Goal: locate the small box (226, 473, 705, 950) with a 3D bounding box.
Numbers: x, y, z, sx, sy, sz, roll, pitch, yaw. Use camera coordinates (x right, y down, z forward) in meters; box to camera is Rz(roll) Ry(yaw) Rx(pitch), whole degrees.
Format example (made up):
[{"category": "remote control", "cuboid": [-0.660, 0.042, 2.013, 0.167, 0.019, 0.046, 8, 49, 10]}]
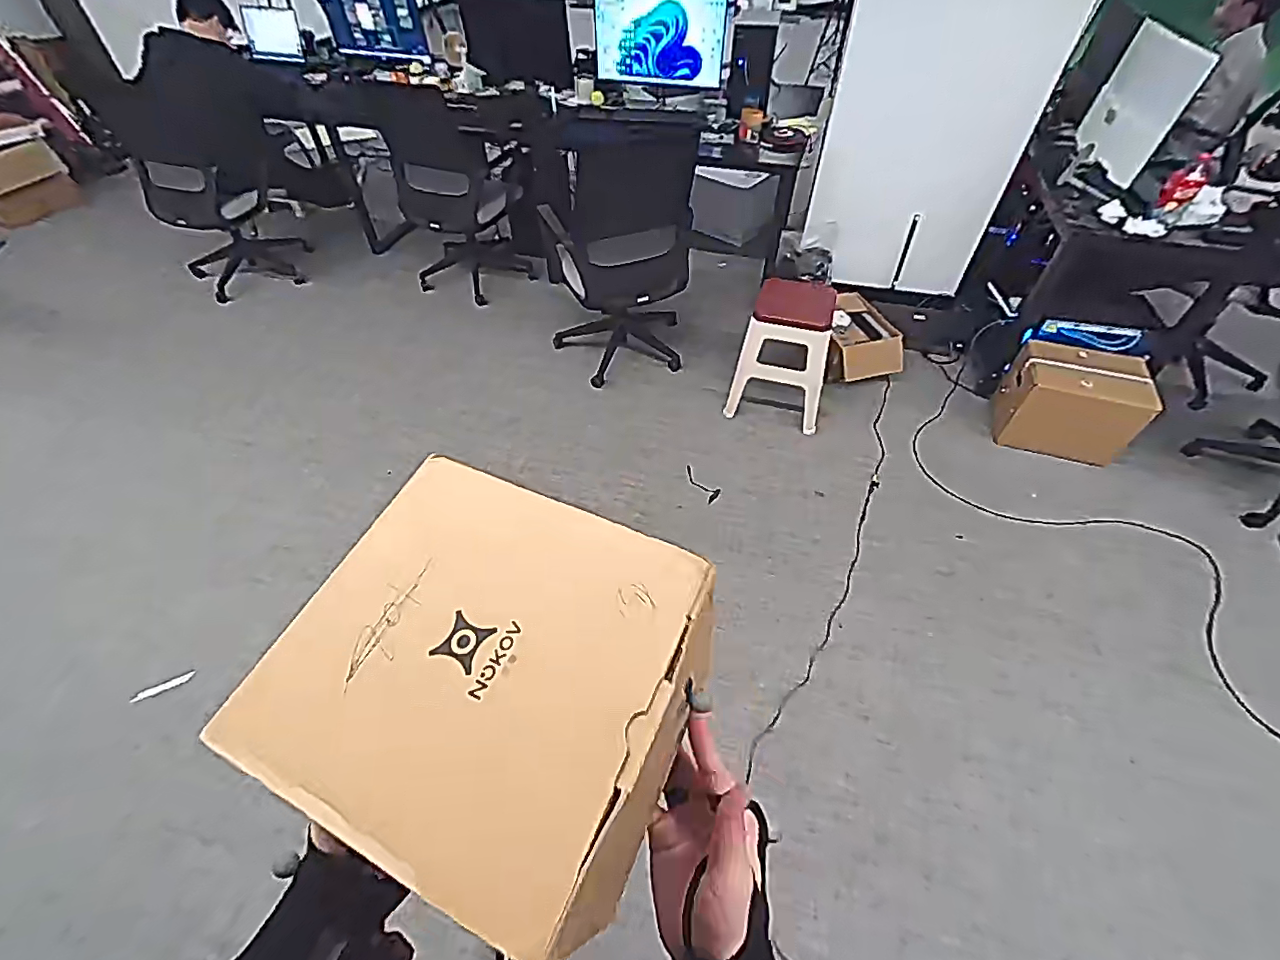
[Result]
[{"category": "small box", "cuboid": [-0.071, 0.127, 0.323, 0.179, 0.176, 0.168, 17, 58, 18]}]
